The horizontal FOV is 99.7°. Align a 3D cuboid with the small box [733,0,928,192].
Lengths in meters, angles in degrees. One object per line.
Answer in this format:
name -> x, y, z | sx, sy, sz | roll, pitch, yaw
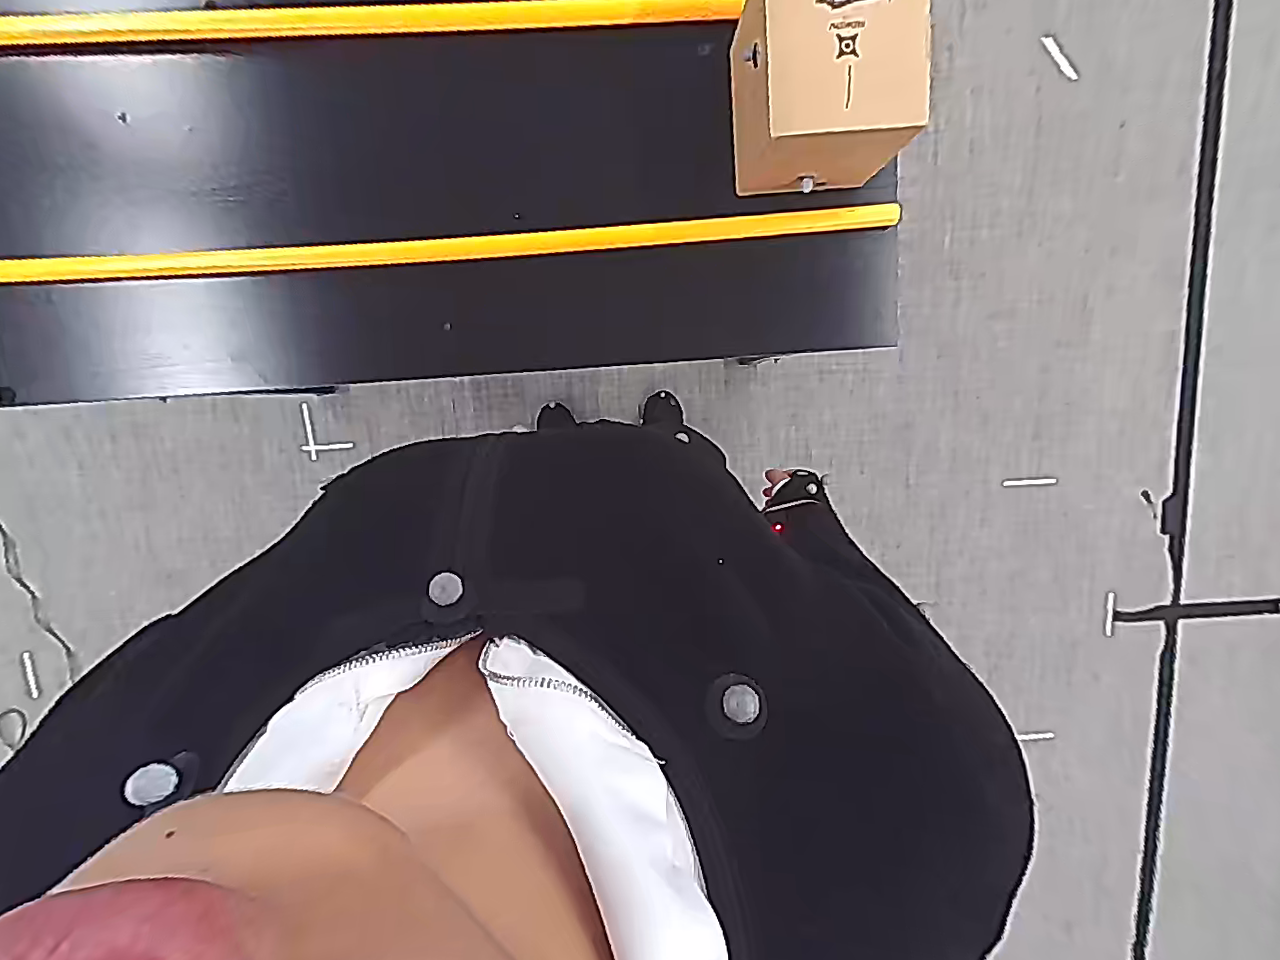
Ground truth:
small box -> 0.204, -0.457, 0.620 | 0.168, 0.176, 0.179 | -4, 99, -1
